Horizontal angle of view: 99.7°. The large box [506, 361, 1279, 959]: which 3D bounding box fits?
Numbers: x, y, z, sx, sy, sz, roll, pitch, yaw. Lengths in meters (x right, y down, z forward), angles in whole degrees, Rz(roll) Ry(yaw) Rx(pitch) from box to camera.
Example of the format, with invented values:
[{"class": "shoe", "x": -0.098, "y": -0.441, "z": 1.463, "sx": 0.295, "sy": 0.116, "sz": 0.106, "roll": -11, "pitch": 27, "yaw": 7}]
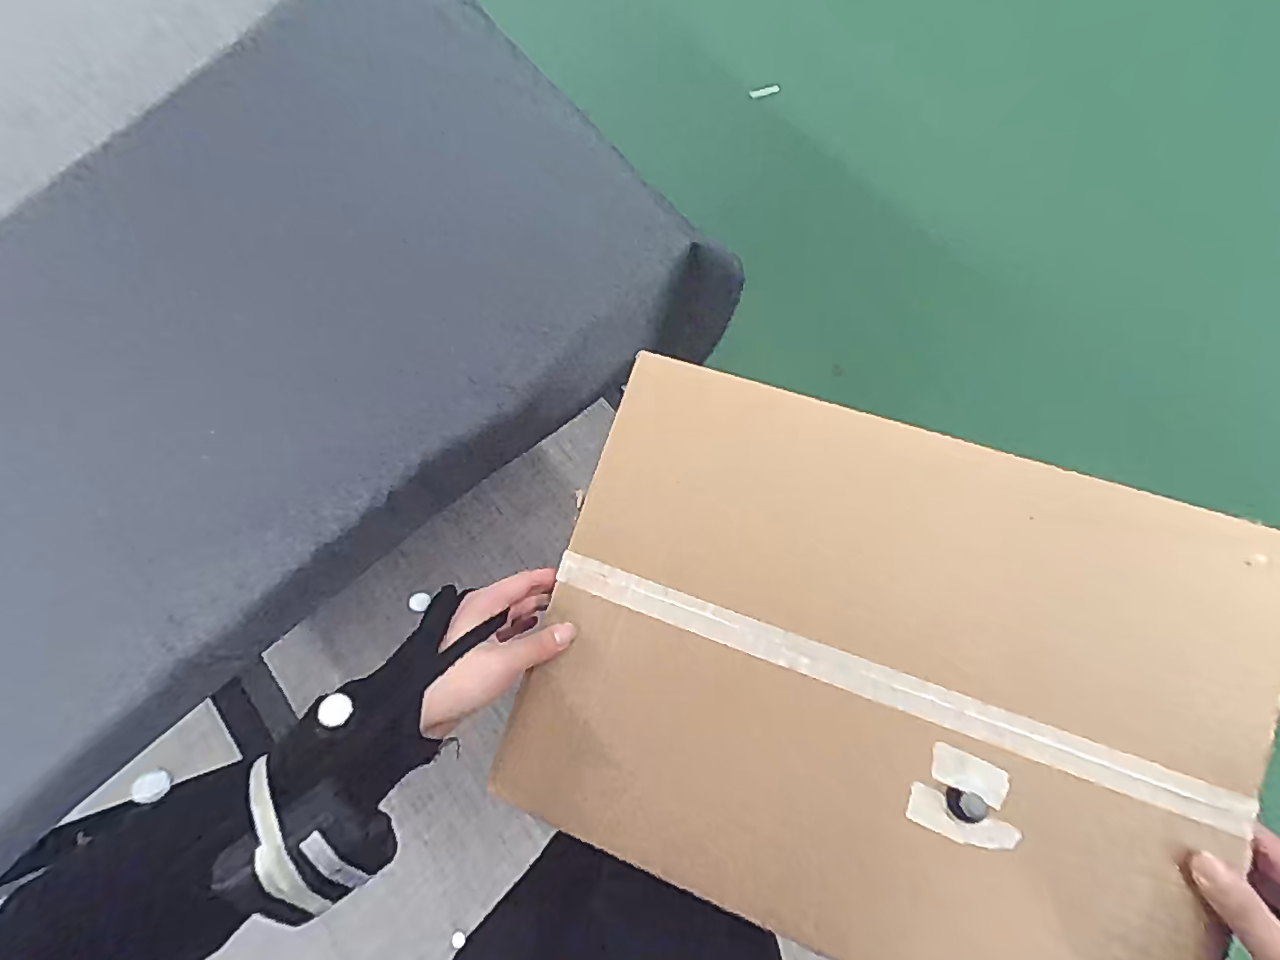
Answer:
[{"class": "large box", "x": 0.161, "y": 0.134, "z": 0.477, "sx": 0.408, "sy": 0.320, "sz": 0.320, "roll": 17, "pitch": 84, "yaw": 11}]
